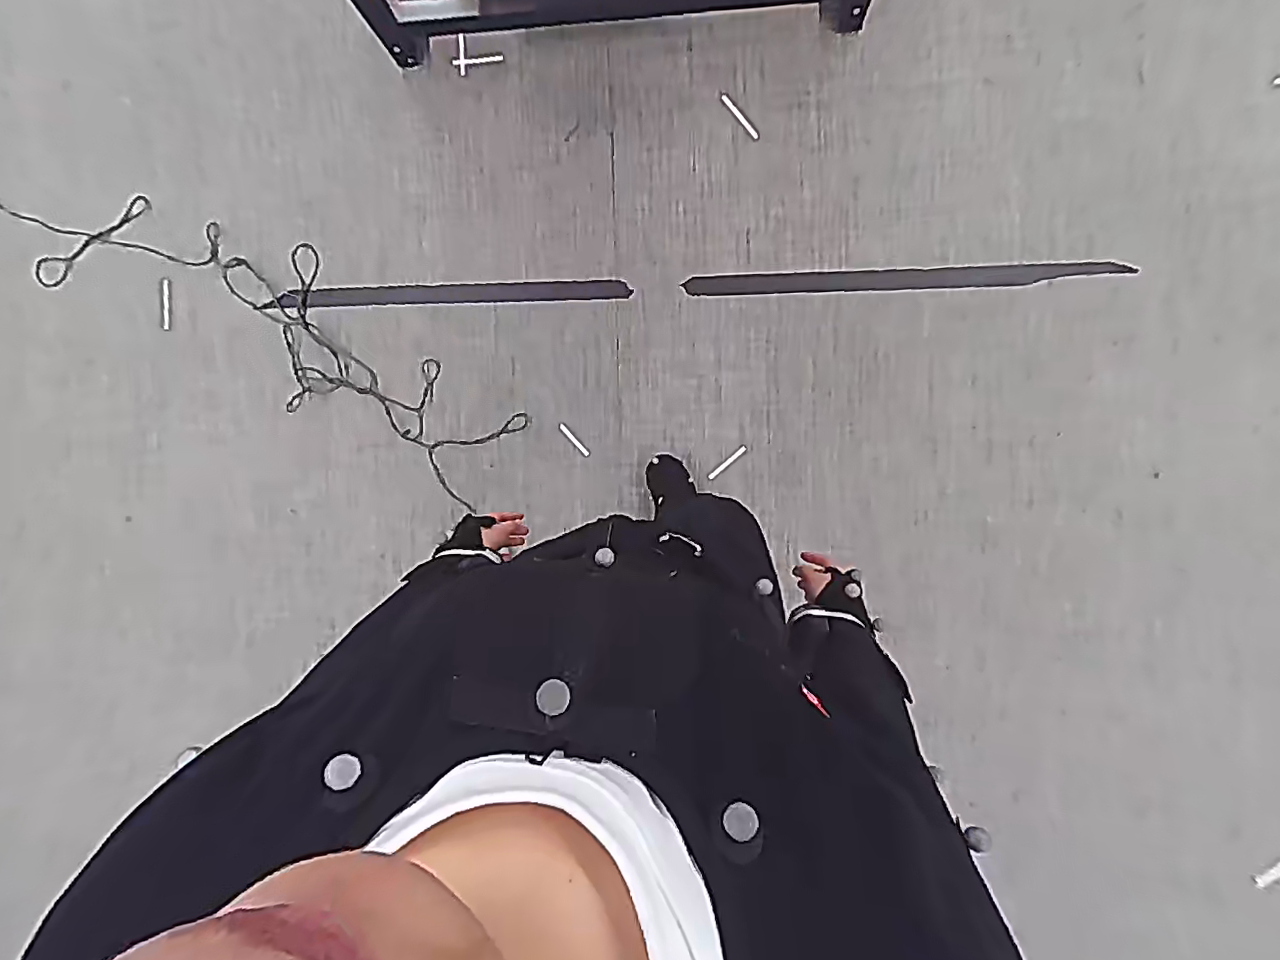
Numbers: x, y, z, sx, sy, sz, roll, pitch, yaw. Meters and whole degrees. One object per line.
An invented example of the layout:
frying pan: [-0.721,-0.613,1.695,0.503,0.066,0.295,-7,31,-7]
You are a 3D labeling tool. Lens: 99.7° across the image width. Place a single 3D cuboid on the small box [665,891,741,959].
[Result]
small box: [0.150,1.147,1.313,0.179,0.176,0.168,0,91,6]
